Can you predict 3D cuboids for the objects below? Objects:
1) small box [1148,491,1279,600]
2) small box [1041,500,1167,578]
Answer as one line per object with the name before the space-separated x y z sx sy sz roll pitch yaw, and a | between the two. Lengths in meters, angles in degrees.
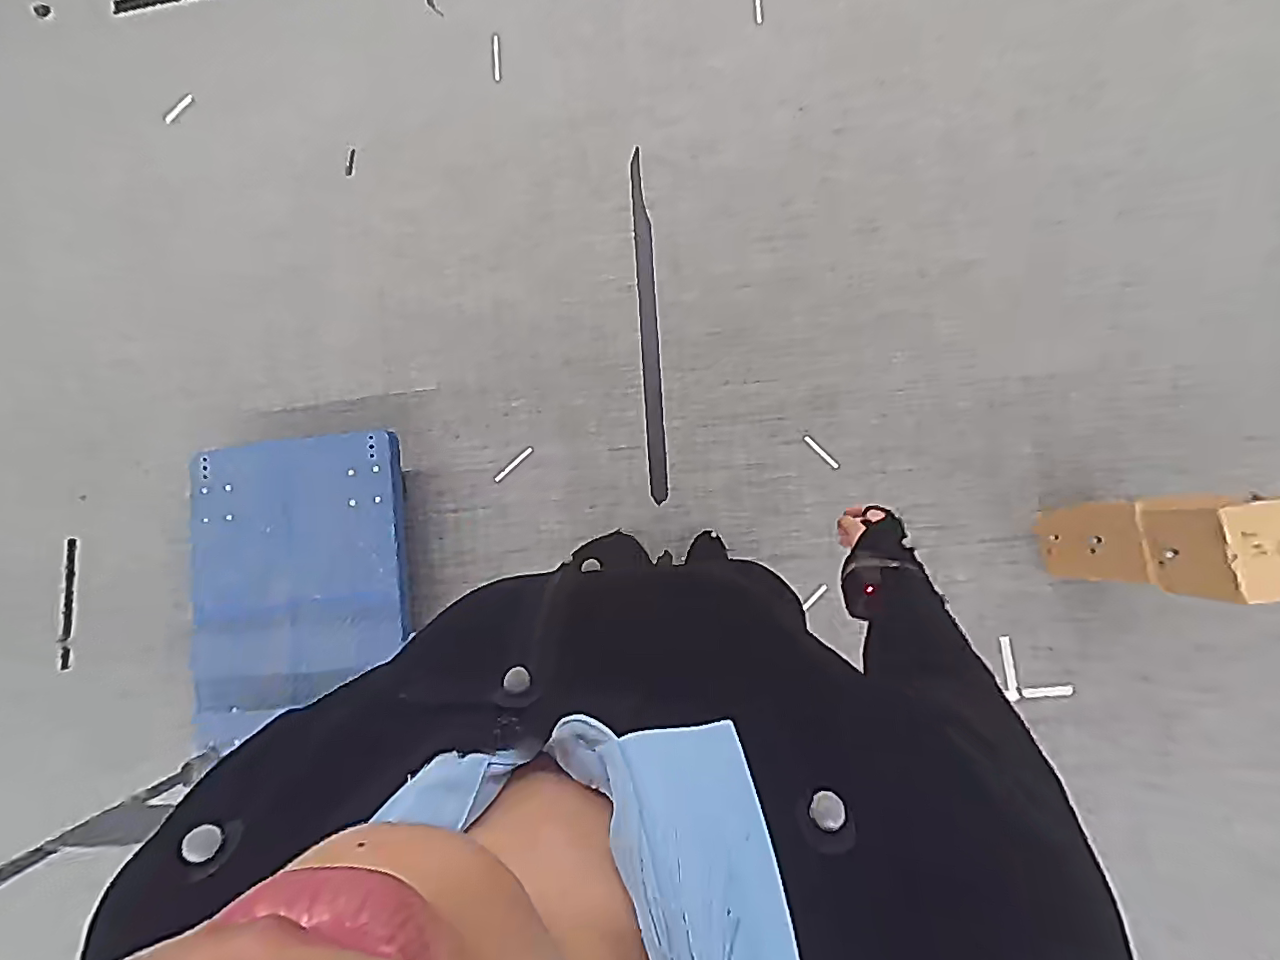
small box | 1.087 0.113 0.972 0.179 0.176 0.168 -11 83 7
small box | 1.117 0.139 1.299 0.179 0.176 0.168 -7 84 6
